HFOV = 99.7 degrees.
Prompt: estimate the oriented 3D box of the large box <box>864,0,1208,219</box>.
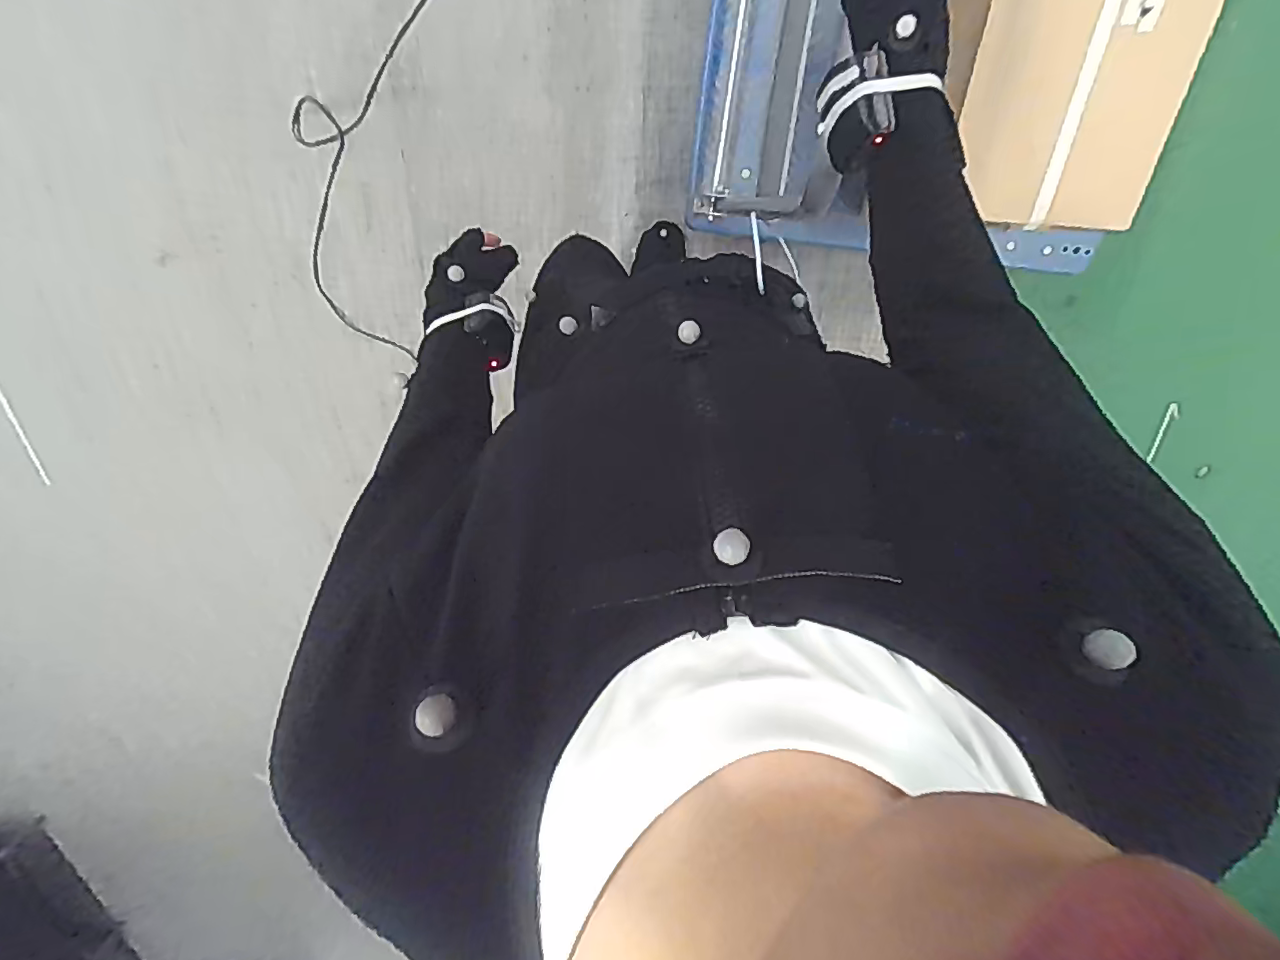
[{"bbox_3d":[0.611,-0.657,0.888,0.320,0.320,0.408,3,115,-2],"label":"large box"}]
